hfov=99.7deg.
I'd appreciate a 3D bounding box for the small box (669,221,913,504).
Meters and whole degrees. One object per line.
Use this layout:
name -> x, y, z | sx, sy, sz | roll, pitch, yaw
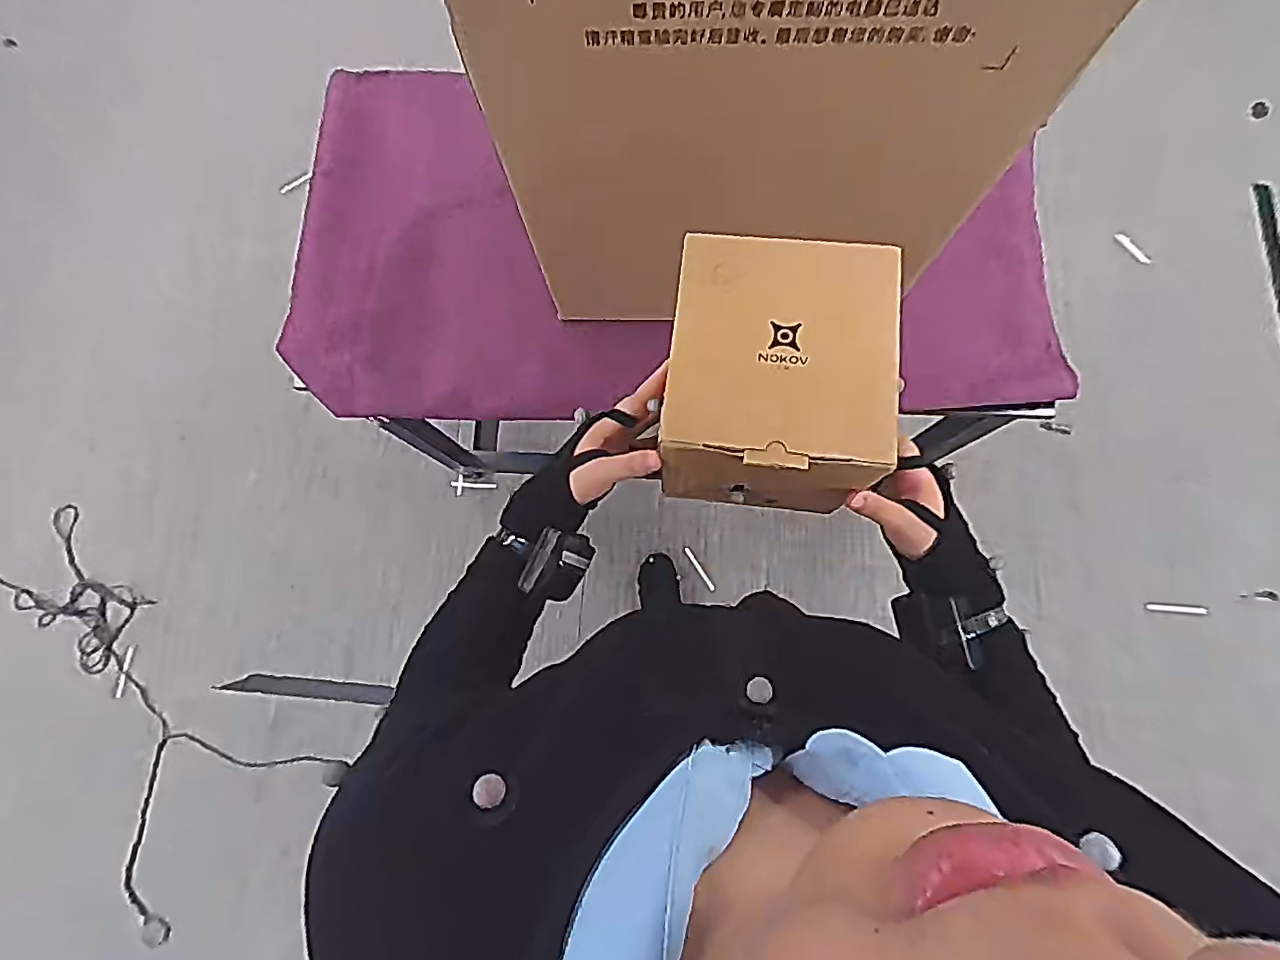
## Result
small box -> 0.115, -0.087, 0.465 | 0.168, 0.176, 0.179 | 6, 77, 5
